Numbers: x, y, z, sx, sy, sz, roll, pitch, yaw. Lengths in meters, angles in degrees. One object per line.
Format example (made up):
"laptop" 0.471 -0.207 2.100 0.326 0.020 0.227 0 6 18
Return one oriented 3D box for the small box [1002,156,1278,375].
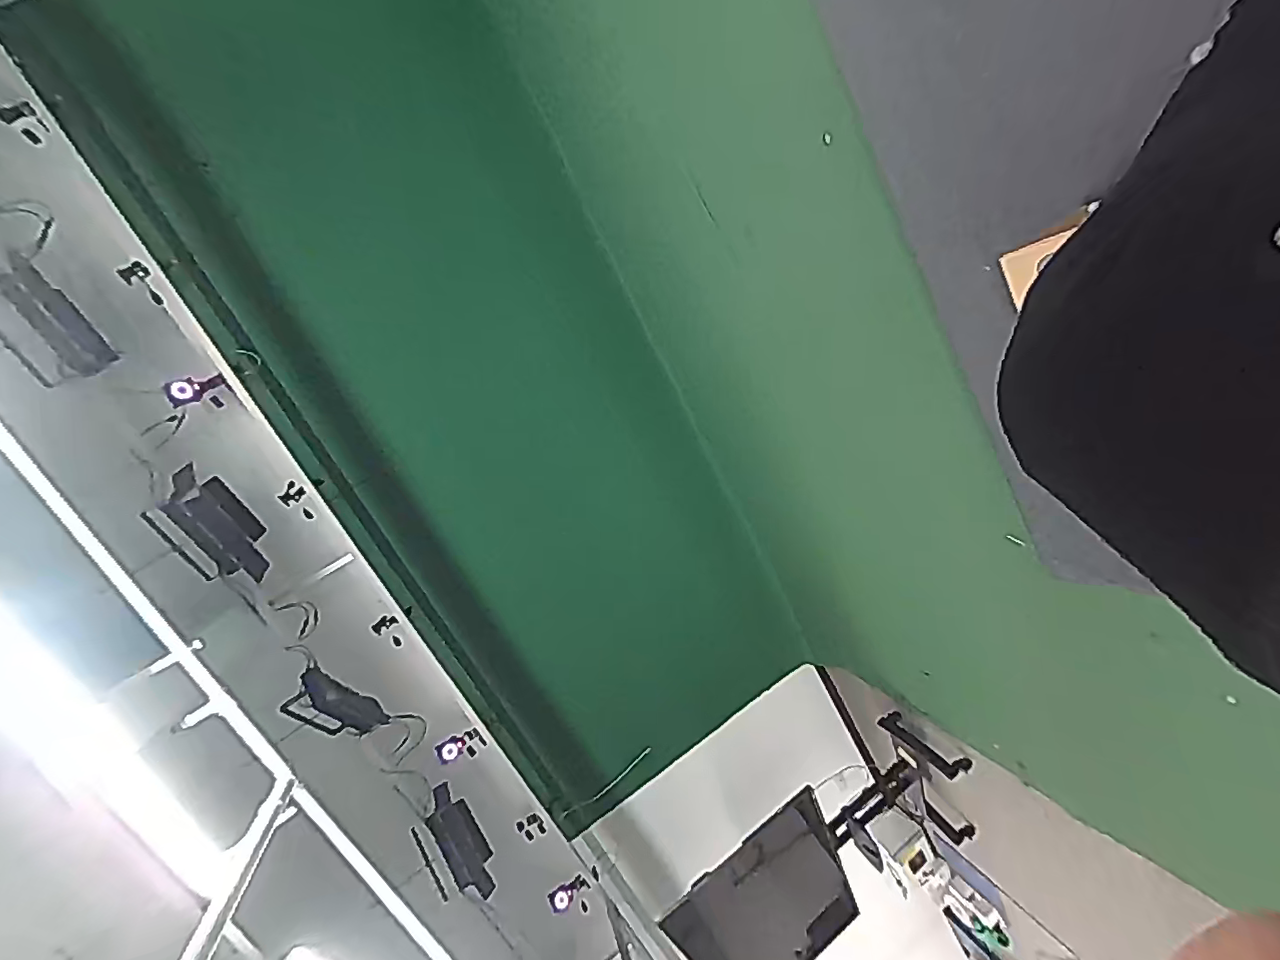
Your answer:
"small box" 0.594 -0.246 0.647 0.168 0.176 0.179 62 167 -11
